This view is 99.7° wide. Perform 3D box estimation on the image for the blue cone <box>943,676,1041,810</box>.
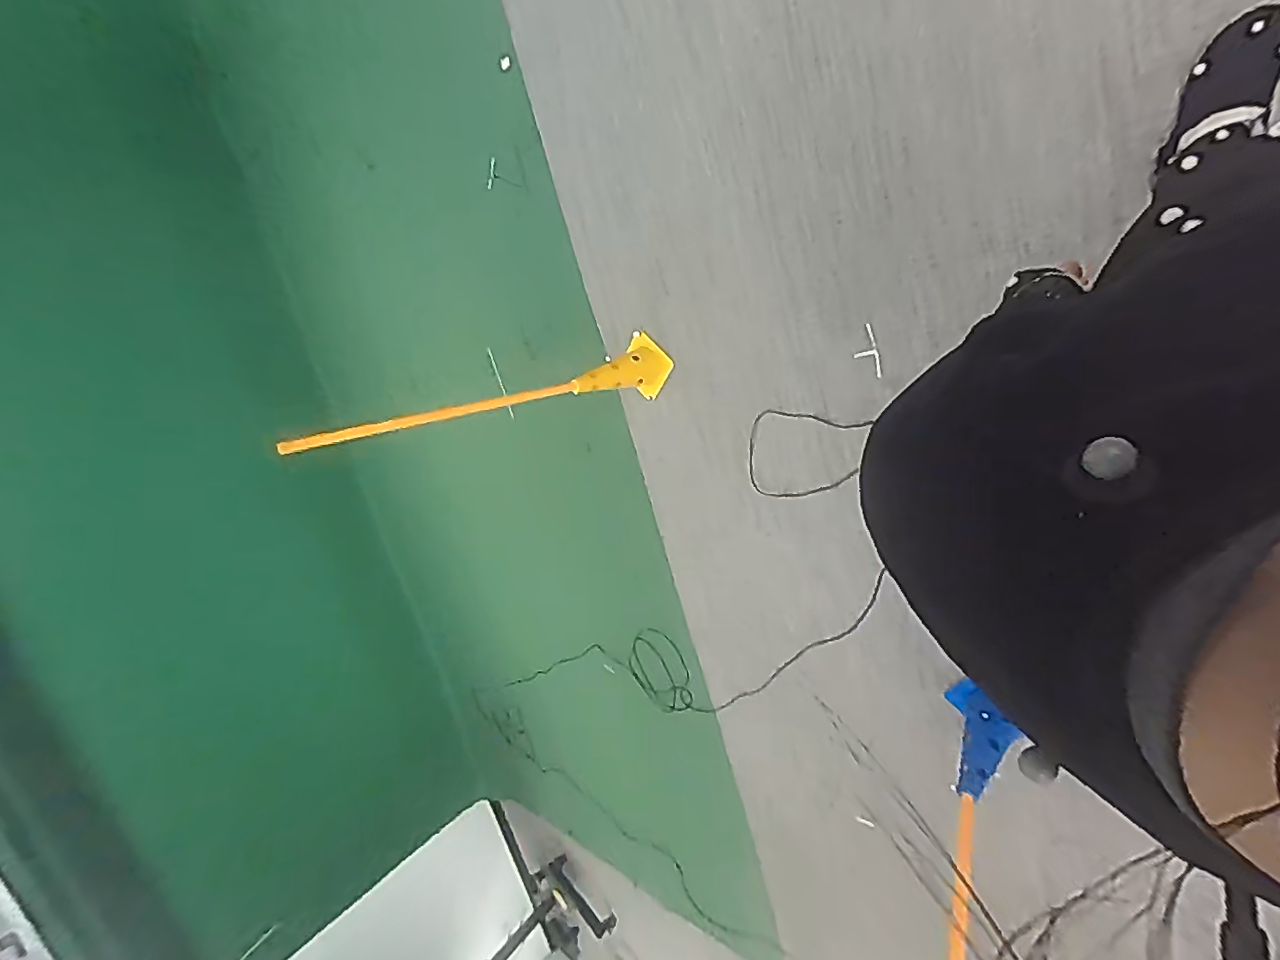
[{"bbox_3d":[0.898,0.716,1.432,0.193,0.380,0.192,41,133,20],"label":"blue cone"}]
